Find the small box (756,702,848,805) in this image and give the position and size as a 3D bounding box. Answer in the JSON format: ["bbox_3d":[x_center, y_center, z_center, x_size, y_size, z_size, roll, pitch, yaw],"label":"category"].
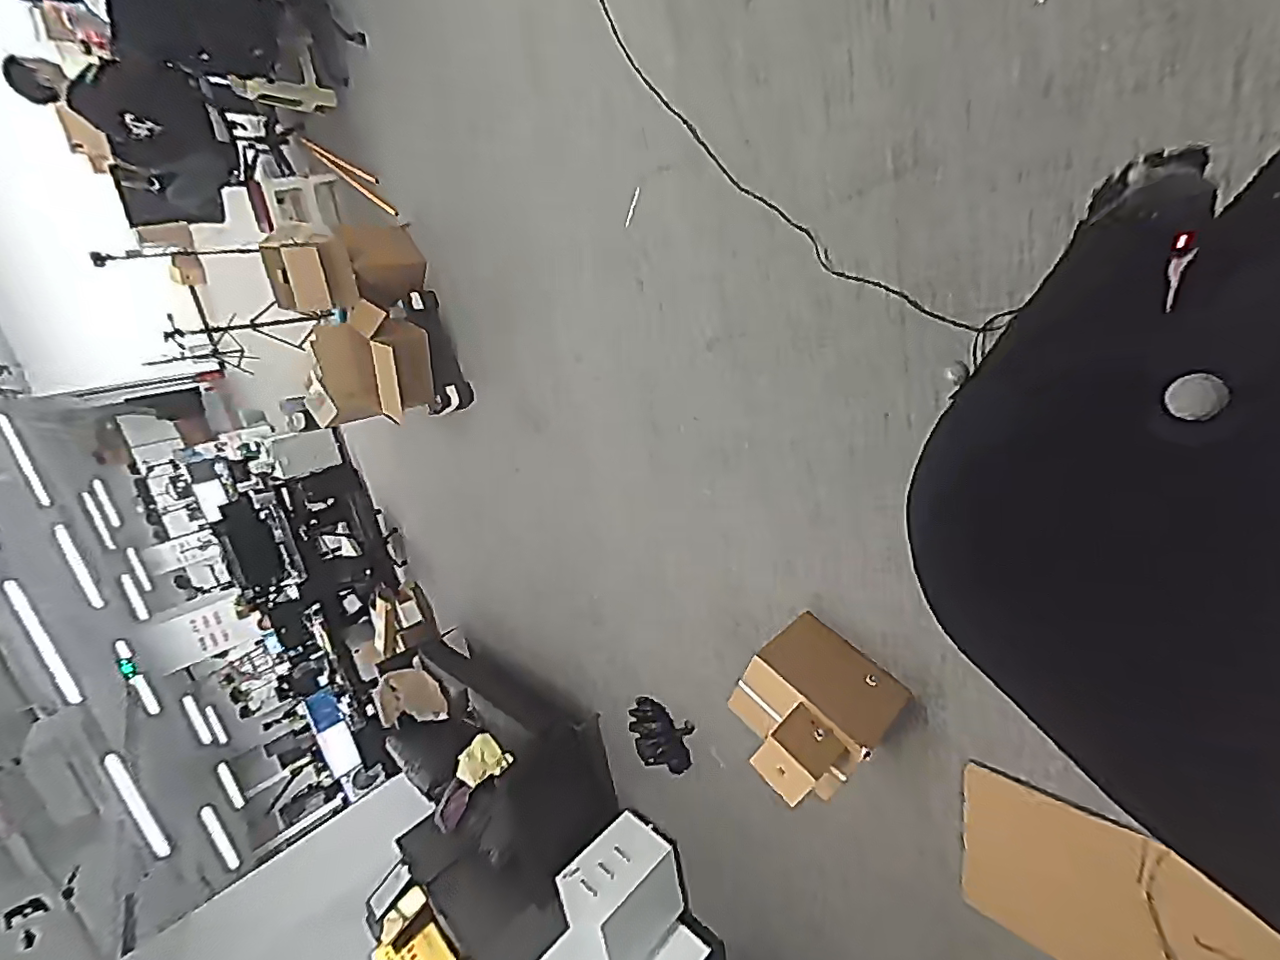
[{"bbox_3d":[0.476,0.794,1.581,0.168,0.176,0.179,40,133,29],"label":"small box"}]
